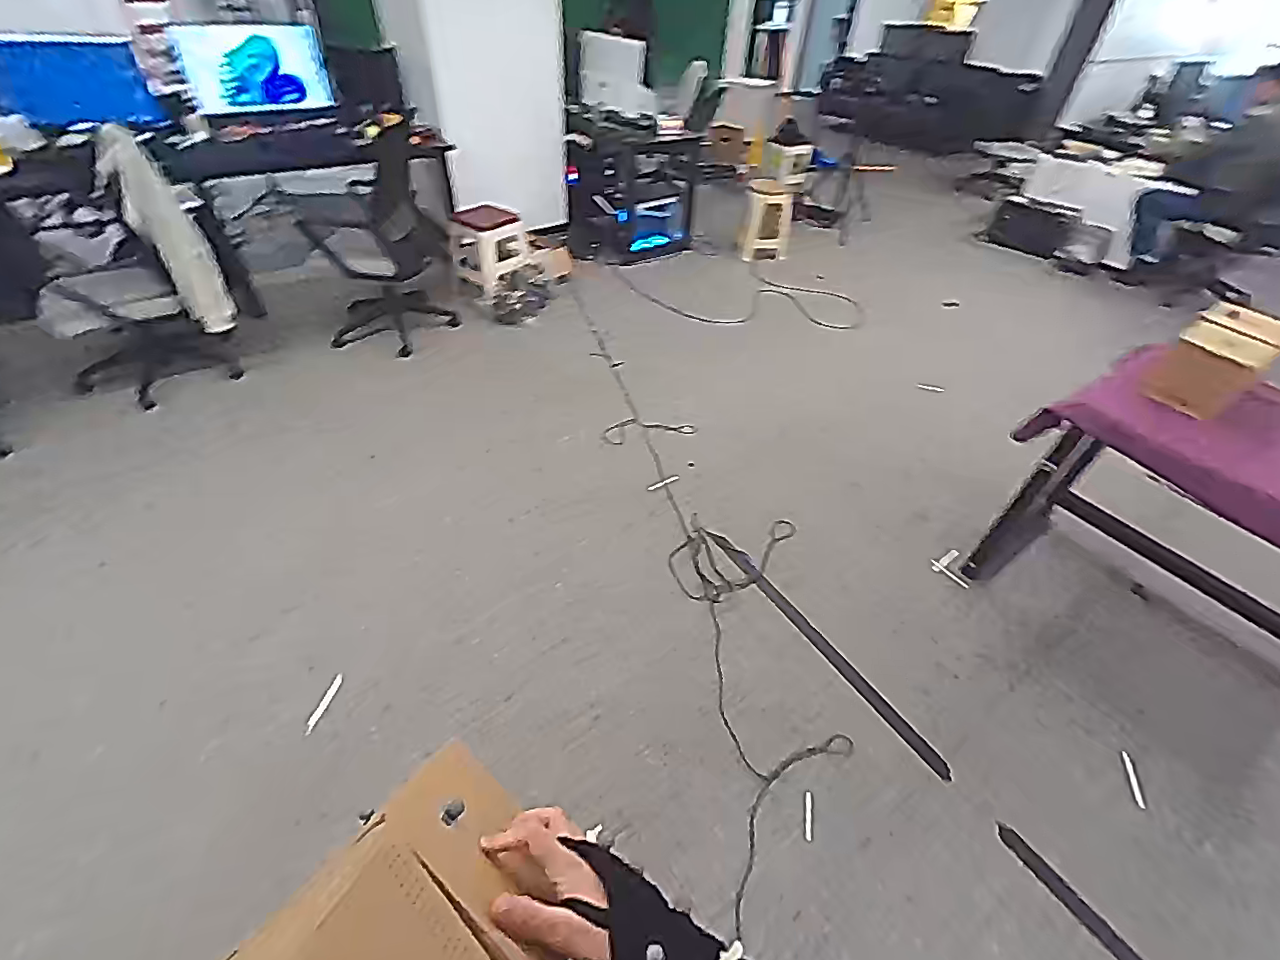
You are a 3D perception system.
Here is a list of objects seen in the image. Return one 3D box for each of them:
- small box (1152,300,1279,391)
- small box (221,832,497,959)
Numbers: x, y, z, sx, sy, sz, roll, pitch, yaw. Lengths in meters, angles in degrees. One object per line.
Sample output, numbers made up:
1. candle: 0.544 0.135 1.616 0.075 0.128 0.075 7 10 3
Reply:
1. small box: 1.609 -0.375 1.513 0.168 0.176 0.179 -24 51 -24
2. small box: -0.161 0.325 0.259 0.168 0.176 0.179 -39 86 -8
